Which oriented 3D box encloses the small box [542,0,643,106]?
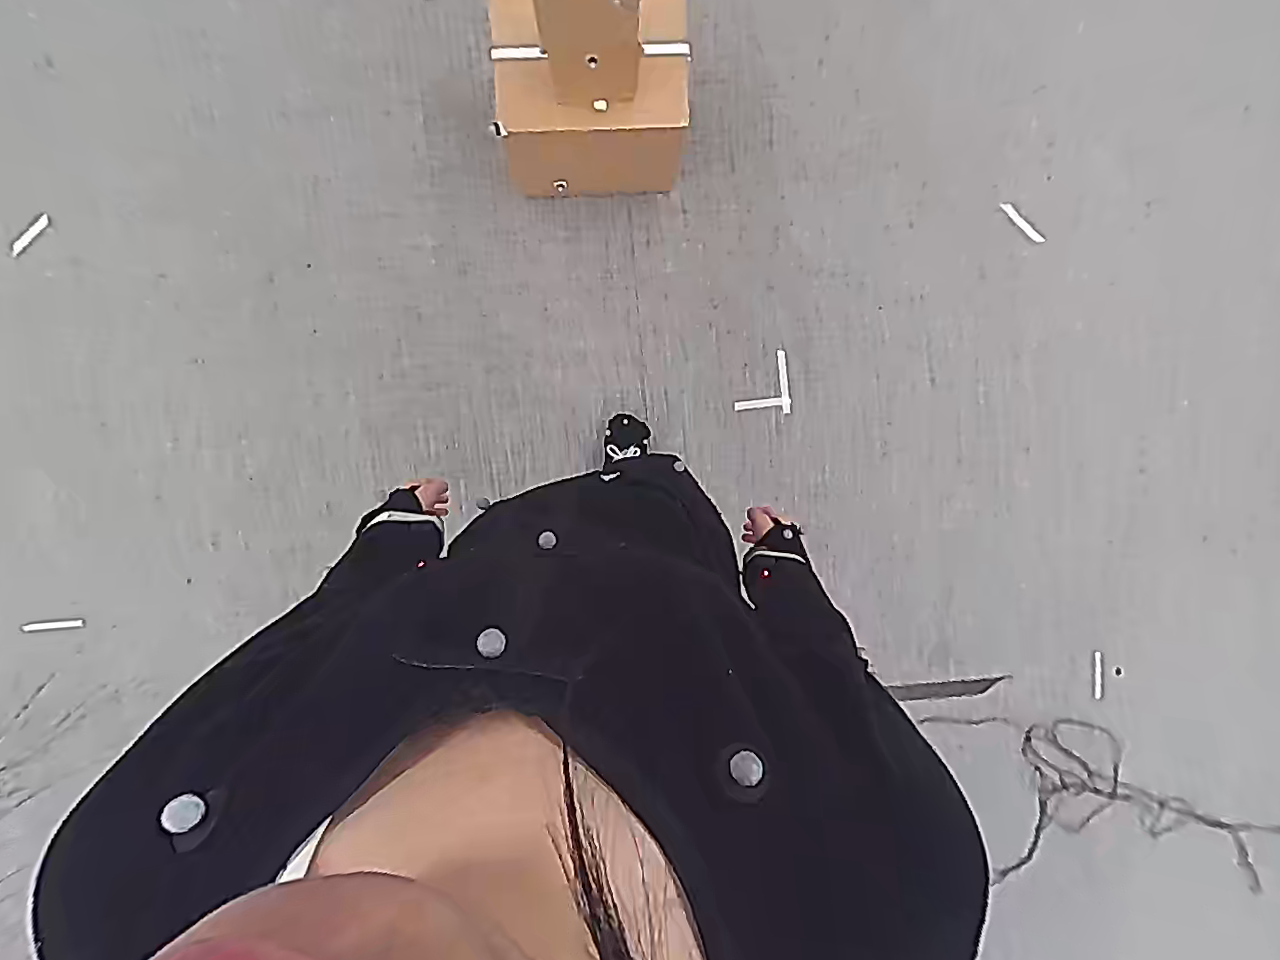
[{"bbox_3d":[-0.091,-0.856,1.043,0.179,0.176,0.168,-6,95,-3],"label":"small box"}]
